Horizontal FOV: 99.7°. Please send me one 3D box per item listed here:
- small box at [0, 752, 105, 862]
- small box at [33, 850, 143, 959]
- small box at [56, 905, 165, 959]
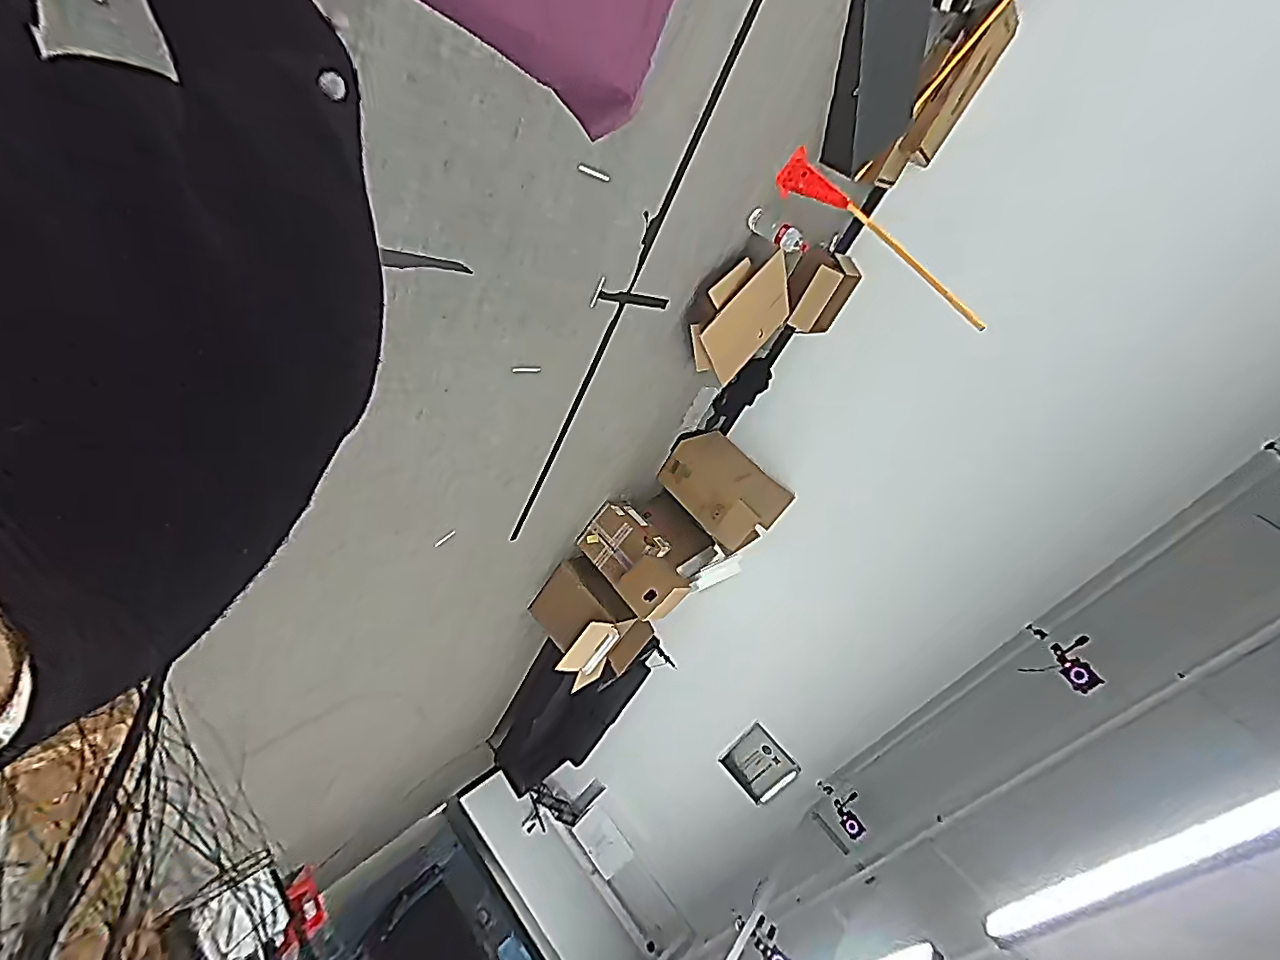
[{"bbox_3d":[-1.660,0.912,1.526,0.179,0.176,0.168,-16,142,-50],"label":"small box"},{"bbox_3d":[-1.438,1.124,1.408,0.179,0.176,0.168,-13,141,-54],"label":"small box"},{"bbox_3d":[-1.329,1.228,1.349,0.179,0.176,0.168,-13,140,-55],"label":"small box"}]
